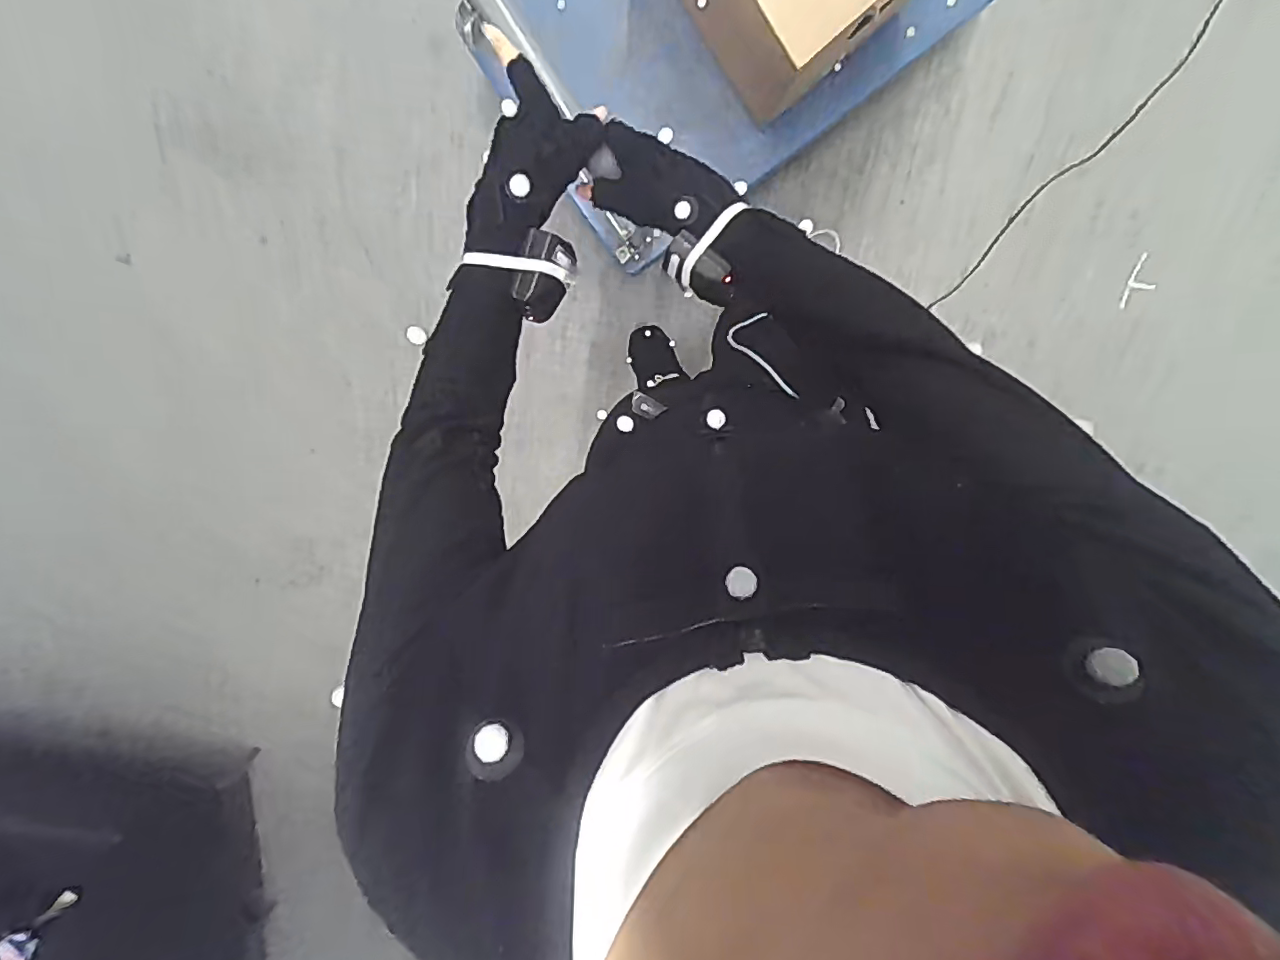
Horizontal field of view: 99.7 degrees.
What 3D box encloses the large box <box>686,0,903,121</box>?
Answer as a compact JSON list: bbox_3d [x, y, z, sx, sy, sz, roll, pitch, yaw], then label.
[{"bbox_3d":[0.233,-0.887,0.845,0.320,0.320,0.408,-37,103,13],"label":"large box"}]
